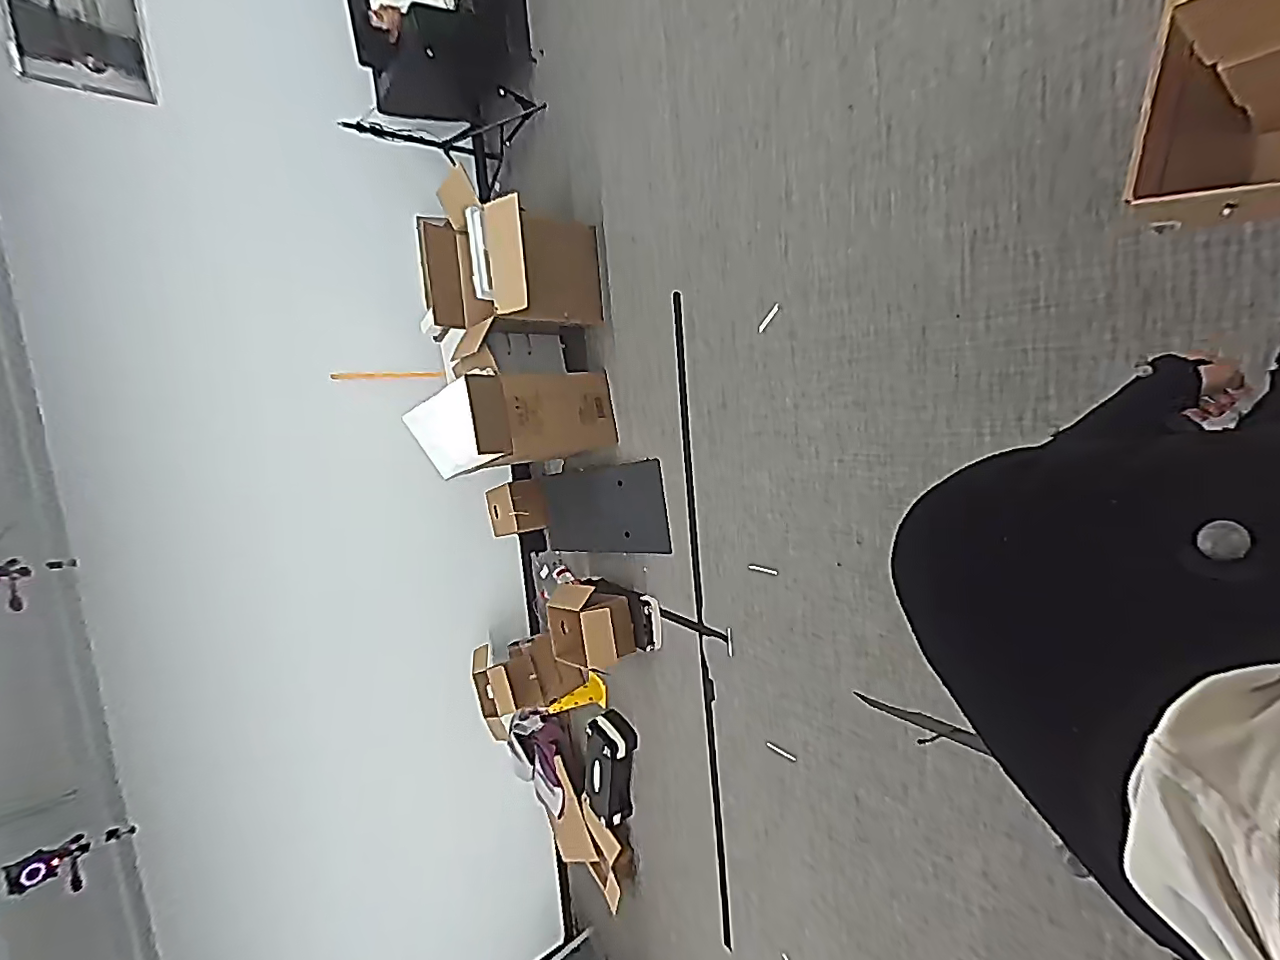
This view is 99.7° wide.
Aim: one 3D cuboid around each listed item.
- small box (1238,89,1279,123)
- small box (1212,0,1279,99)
[{"bbox_3d":[0.892,-0.572,0.664,0.179,0.176,0.168,14,110,51],"label":"small box"},{"bbox_3d":[0.755,-0.553,0.576,0.168,0.176,0.179,12,107,54],"label":"small box"}]
